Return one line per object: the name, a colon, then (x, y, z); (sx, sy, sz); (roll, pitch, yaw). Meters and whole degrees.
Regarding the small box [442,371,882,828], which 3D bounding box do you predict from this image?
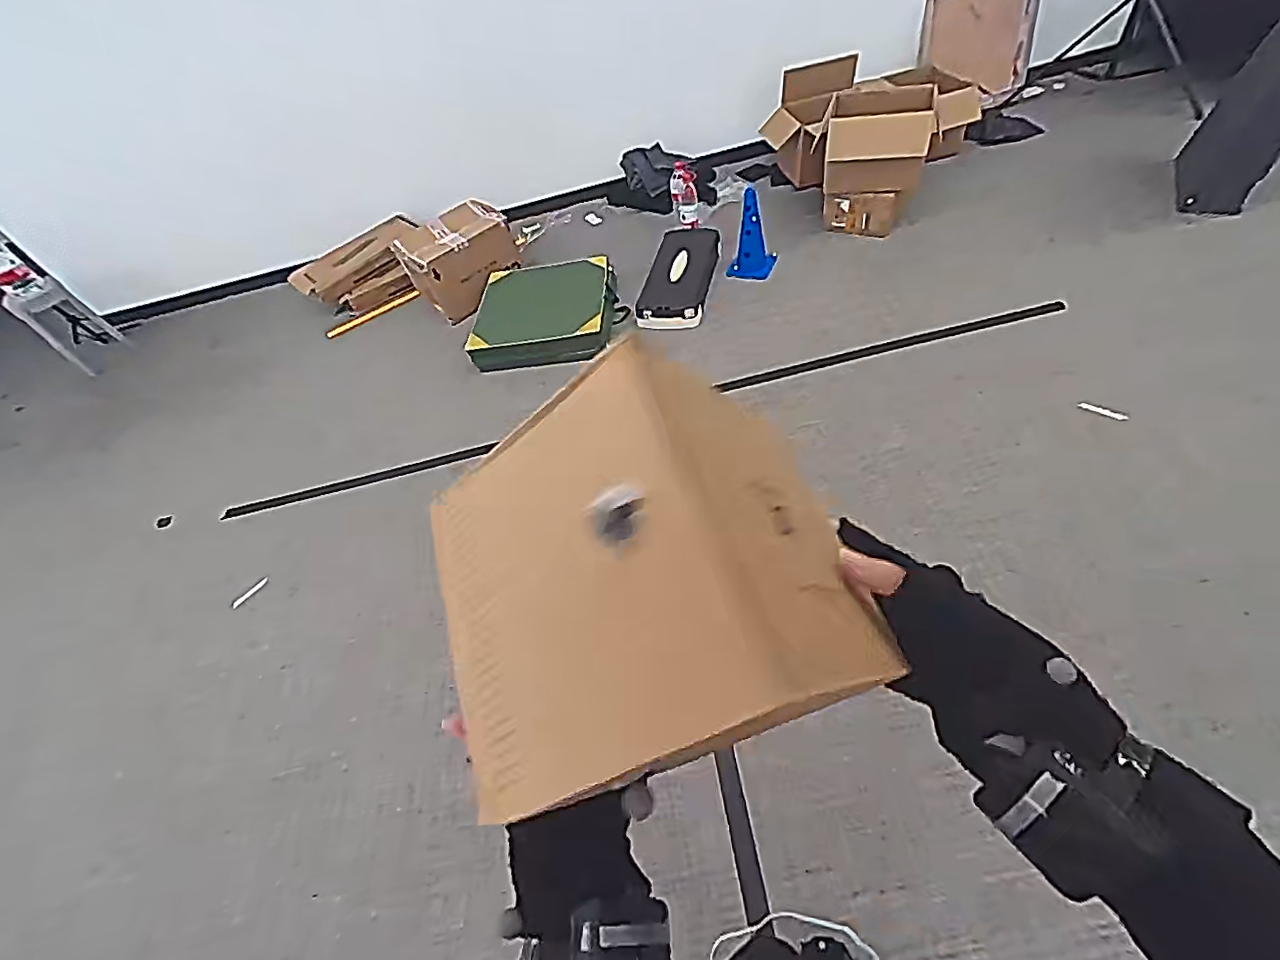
small box: (0.001, 0.073, 0.326); (0.176, 0.168, 0.179); (-39, 56, 29)
